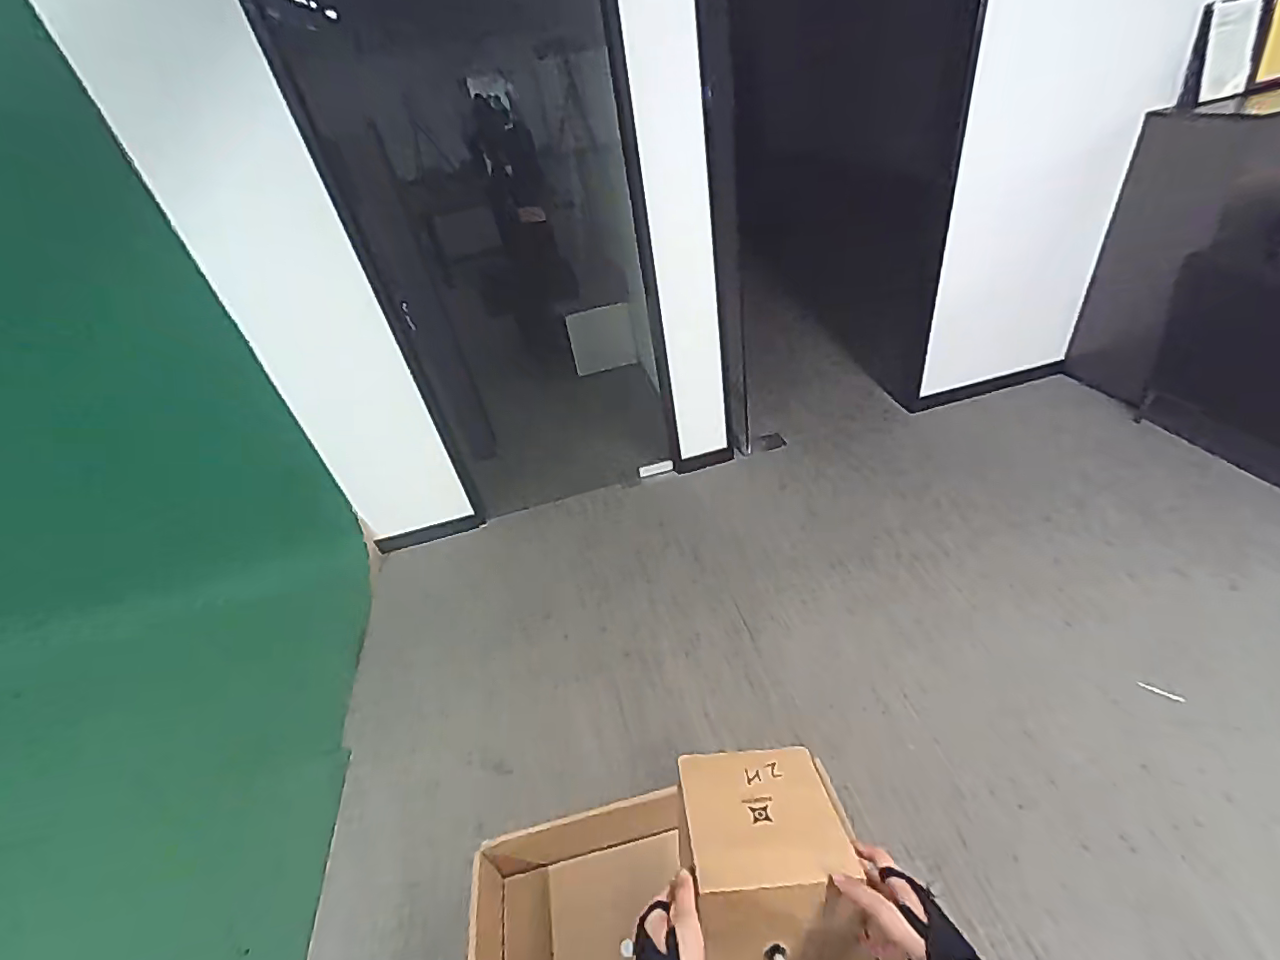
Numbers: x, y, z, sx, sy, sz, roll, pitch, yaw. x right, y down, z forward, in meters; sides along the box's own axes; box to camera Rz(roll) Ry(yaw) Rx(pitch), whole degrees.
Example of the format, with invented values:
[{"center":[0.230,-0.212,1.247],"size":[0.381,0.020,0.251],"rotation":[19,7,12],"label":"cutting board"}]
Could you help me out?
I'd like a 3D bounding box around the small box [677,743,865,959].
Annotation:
[{"center":[0.134,0.432,0.608],"size":[0.168,0.176,0.179],"rotation":[-2,15,-3],"label":"small box"}]
